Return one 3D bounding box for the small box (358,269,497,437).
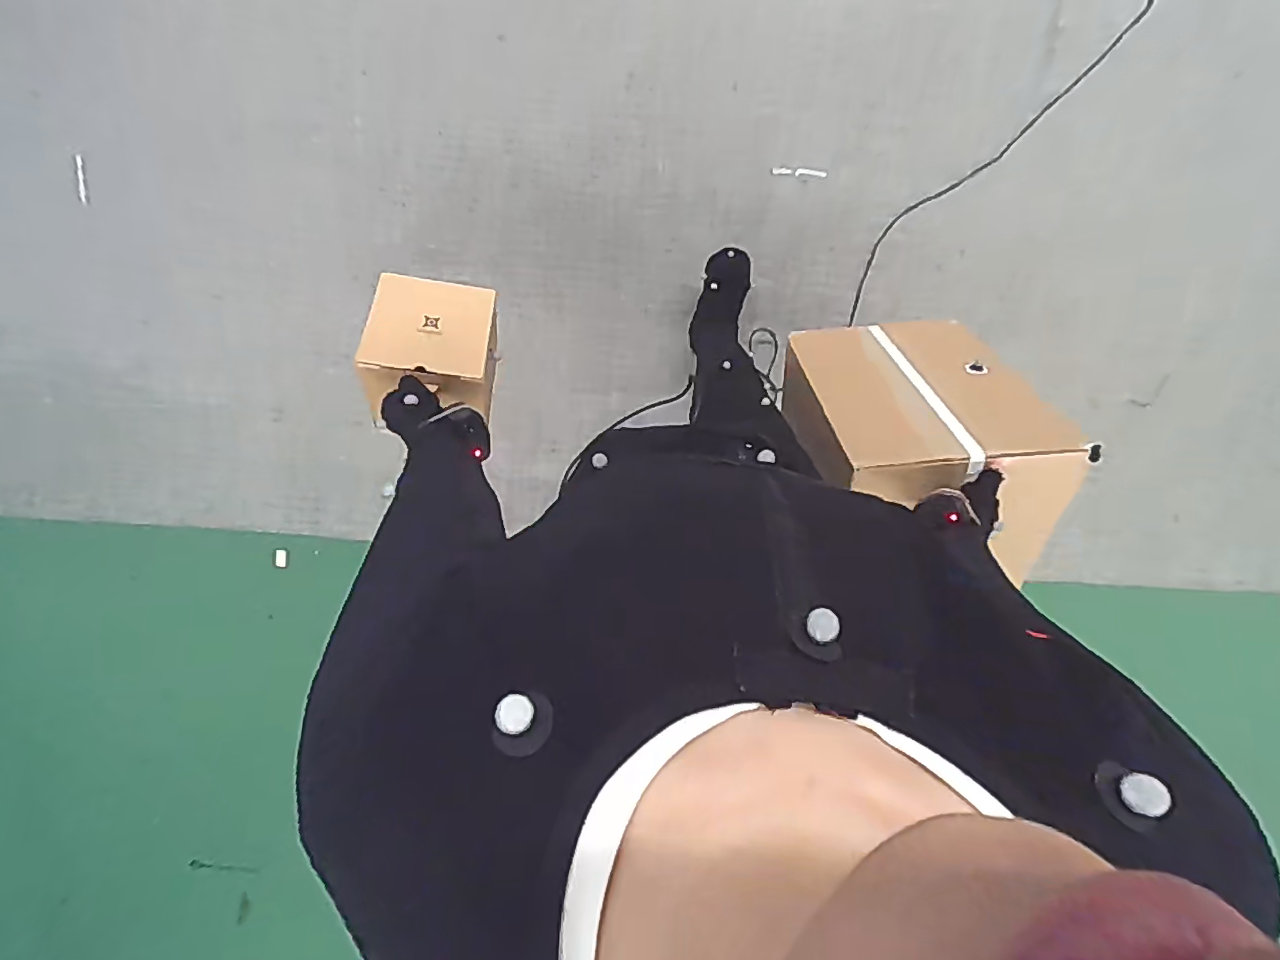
[{"bbox_3d":[-0.319,-0.192,0.844,0.168,0.176,0.179,6,61,-12],"label":"small box"}]
